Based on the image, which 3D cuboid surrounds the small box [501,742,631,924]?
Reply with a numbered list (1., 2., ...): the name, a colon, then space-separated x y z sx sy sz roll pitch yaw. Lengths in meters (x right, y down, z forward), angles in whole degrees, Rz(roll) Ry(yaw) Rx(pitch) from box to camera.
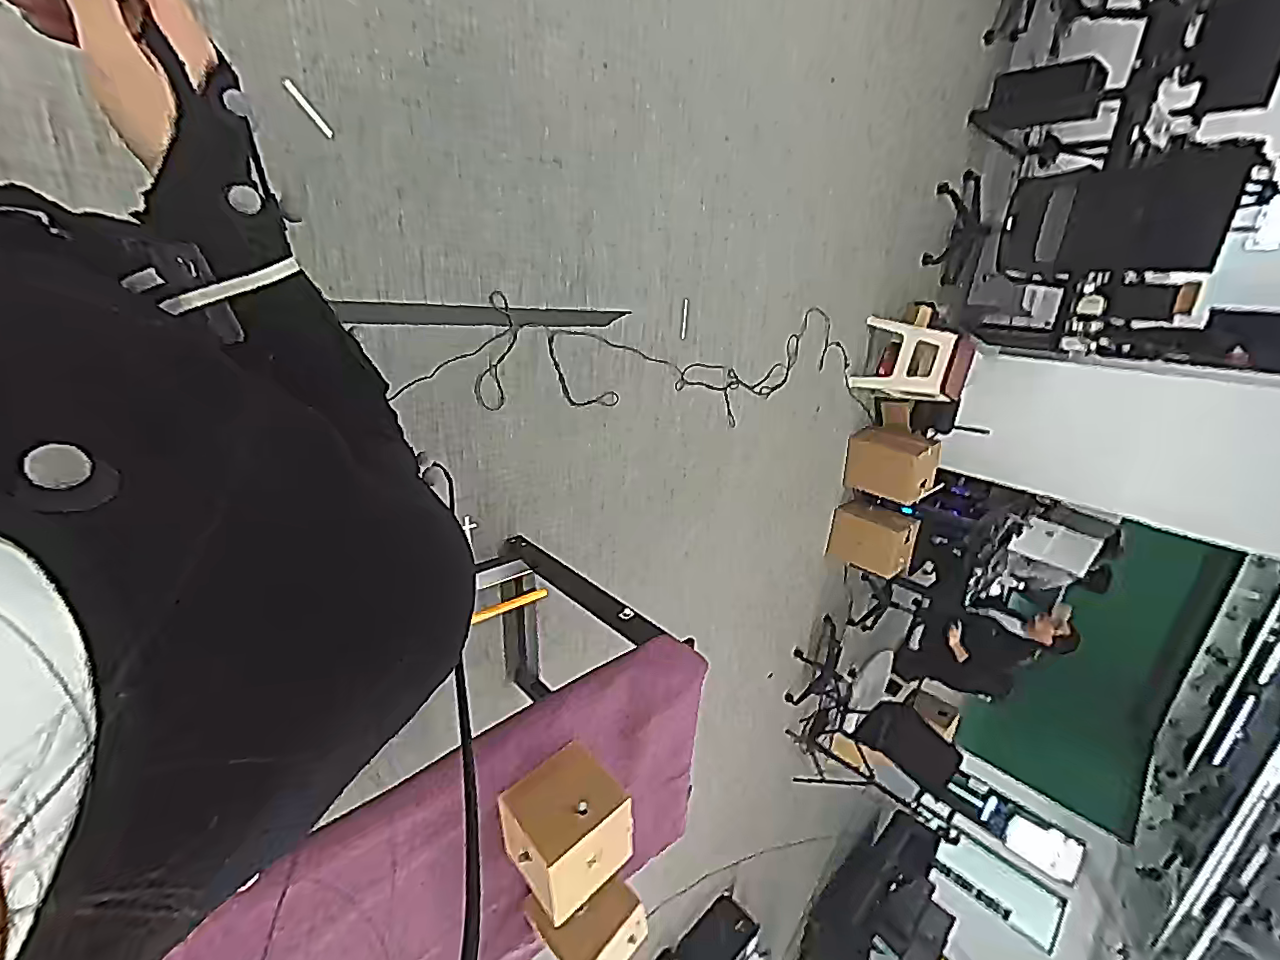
1. small box: -0.137 0.625 0.979 0.179 0.176 0.168 -22 122 -39
